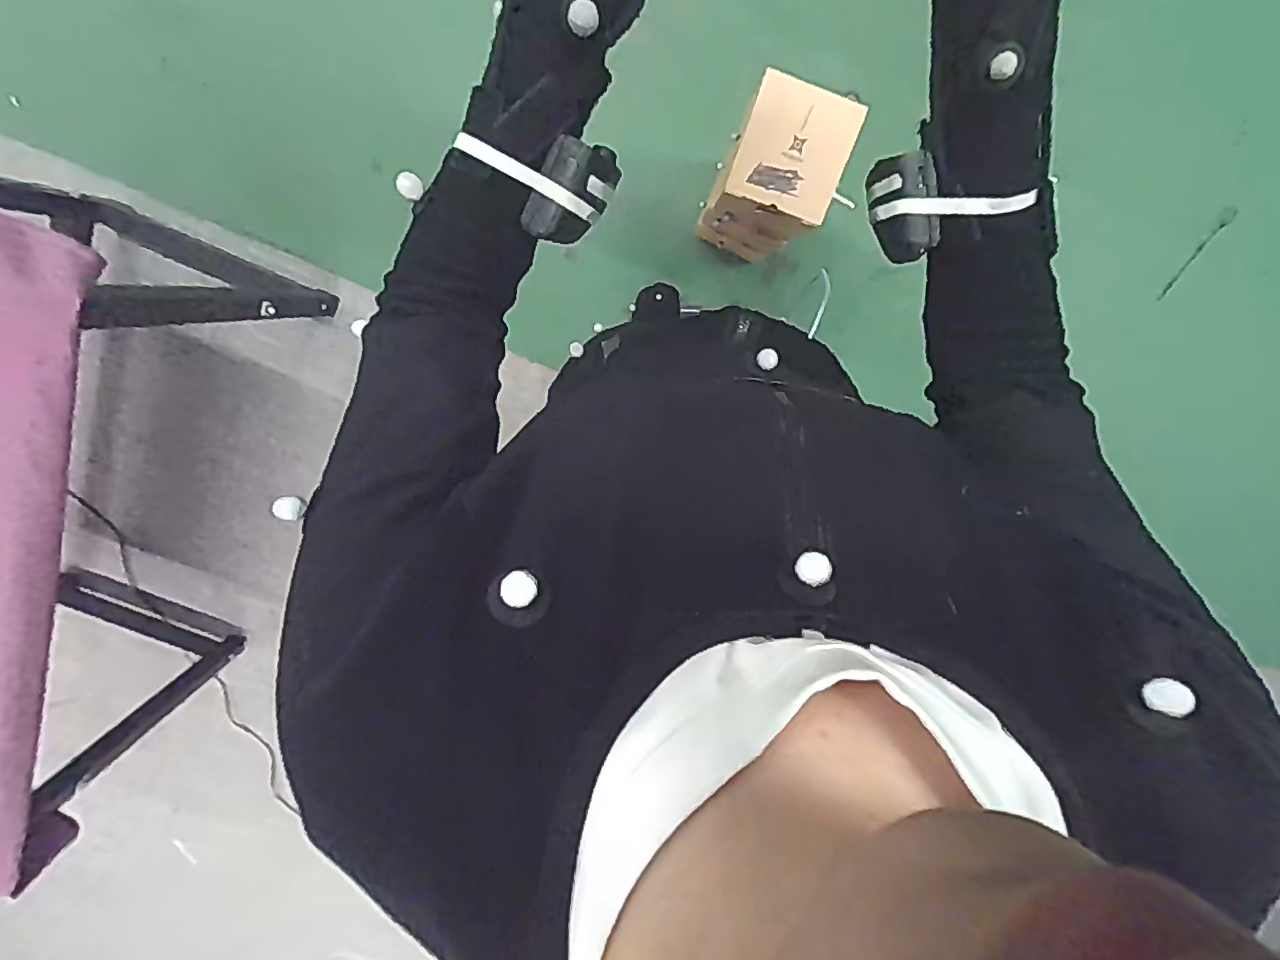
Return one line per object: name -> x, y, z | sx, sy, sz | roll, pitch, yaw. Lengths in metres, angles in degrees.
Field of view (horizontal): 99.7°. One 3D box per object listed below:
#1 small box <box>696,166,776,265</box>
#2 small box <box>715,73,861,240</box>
small box -> 0.235, -0.608, 1.225 | 0.168, 0.176, 0.179 | 24, 107, -6
small box -> 0.233, -0.523, 0.907 | 0.168, 0.176, 0.179 | 18, 106, -5
